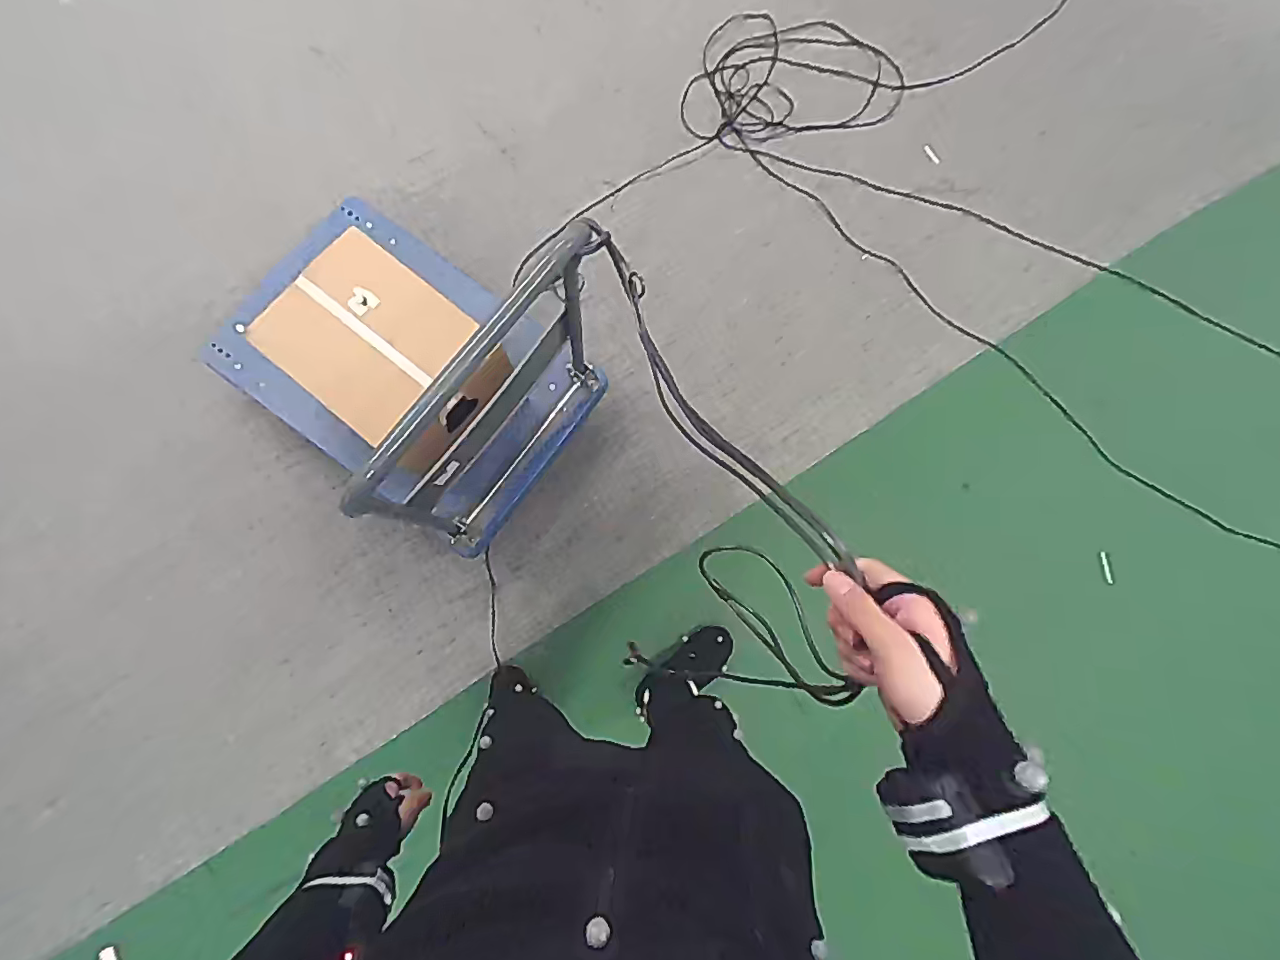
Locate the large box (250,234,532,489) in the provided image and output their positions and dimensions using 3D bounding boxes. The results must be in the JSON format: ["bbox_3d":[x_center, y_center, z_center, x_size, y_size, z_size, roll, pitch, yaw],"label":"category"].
[{"bbox_3d":[-0.507,-0.234,1.190,0.408,0.320,0.320,38,80,6],"label":"large box"}]
